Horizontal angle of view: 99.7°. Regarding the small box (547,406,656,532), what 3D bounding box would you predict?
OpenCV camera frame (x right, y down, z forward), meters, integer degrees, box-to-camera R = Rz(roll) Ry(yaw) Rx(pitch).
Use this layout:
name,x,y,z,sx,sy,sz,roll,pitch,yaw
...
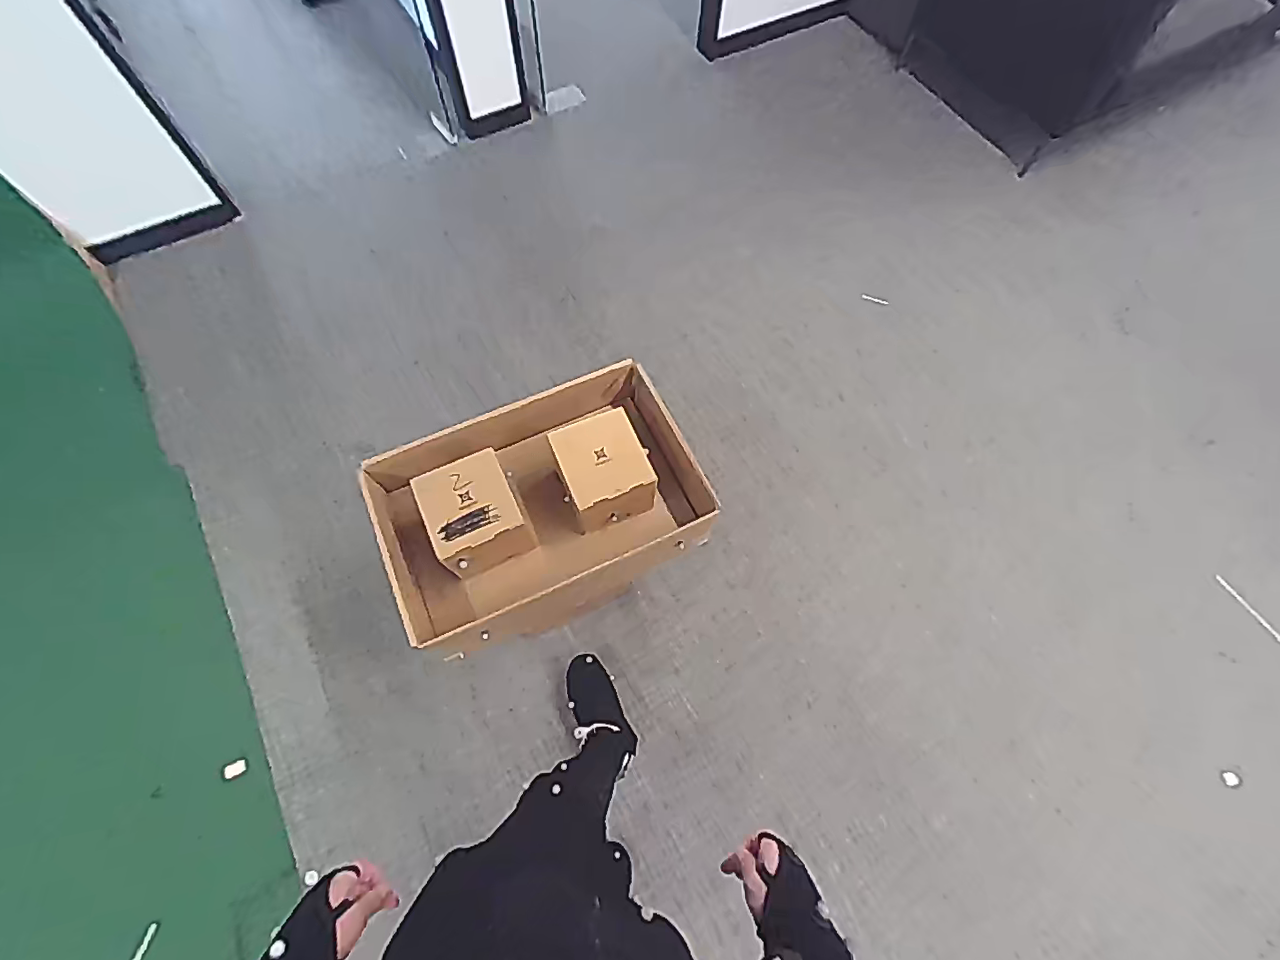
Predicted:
name,x,y,z,sx,sy,sz,roll,pitch,yaw
small box,-0.081,-0.017,1.116,0.168,0.176,0.179,-22,70,-11
